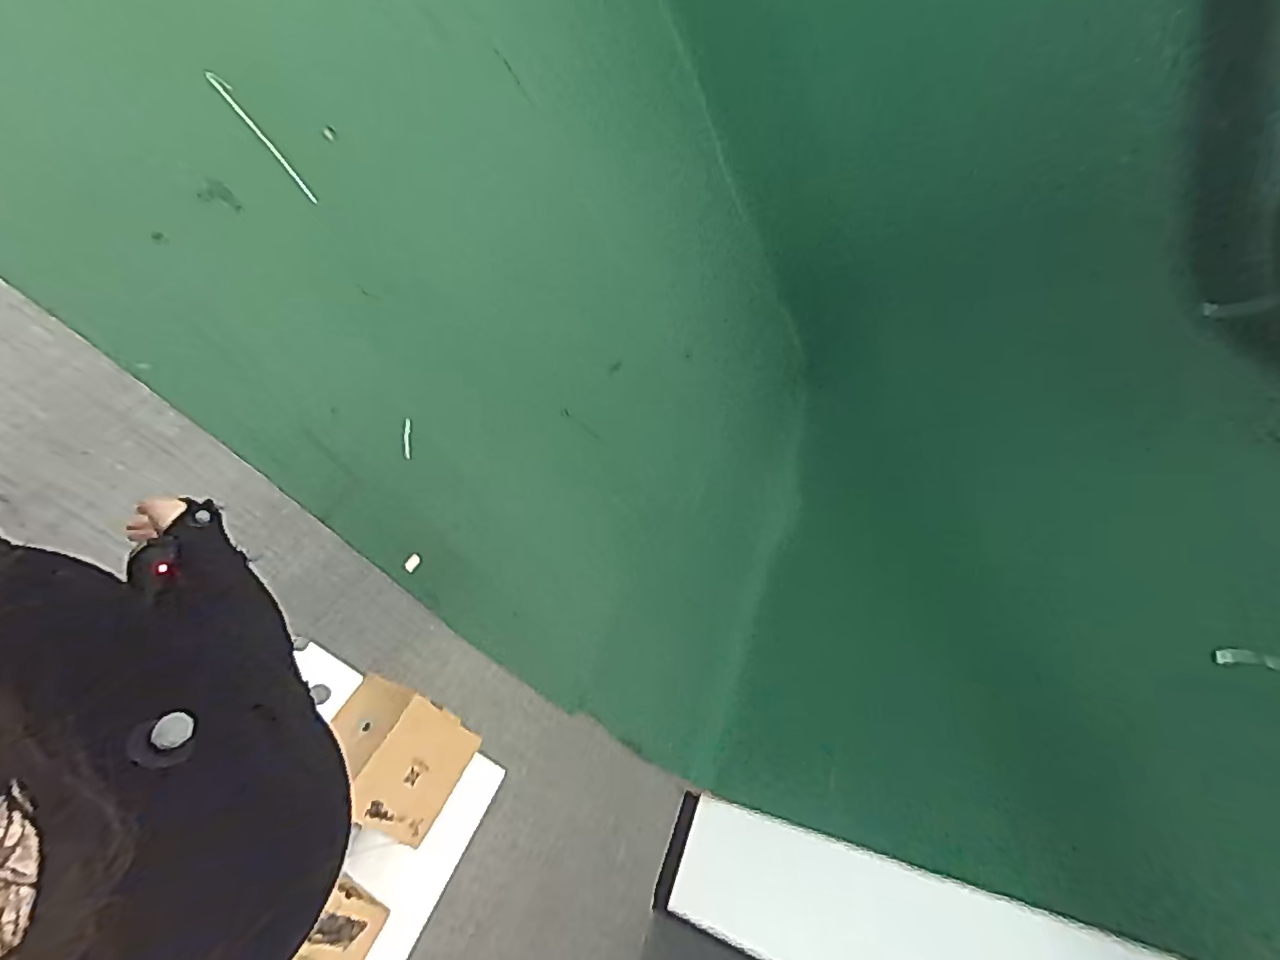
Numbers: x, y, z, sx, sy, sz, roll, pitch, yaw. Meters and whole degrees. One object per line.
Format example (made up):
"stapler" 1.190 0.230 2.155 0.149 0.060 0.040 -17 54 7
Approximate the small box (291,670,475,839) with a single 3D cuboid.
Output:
"small box" -0.413 0.431 0.873 0.168 0.176 0.179 56 47 -32
